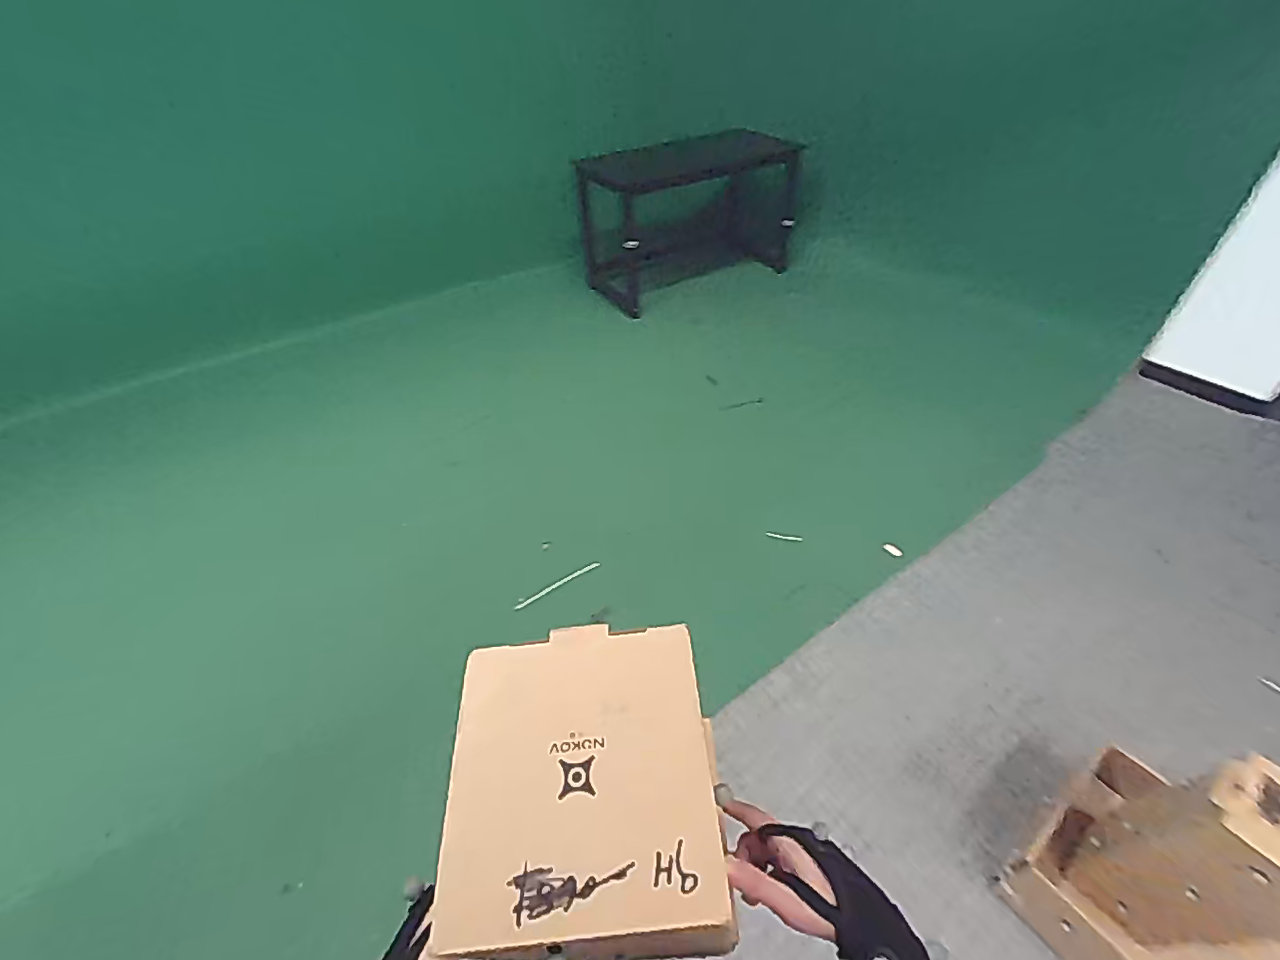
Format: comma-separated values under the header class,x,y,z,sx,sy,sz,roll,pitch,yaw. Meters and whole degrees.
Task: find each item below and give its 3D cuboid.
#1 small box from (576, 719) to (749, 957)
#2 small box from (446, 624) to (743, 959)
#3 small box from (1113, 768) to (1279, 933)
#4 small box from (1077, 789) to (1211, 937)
class,x,y,z,sx,sy,sz,roll,pitch,yaw
small box,0.003,0.348,0.523,0.179,0.176,0.168,-7,46,3
small box,-0.022,0.234,0.407,0.168,0.176,0.179,-8,46,2
small box,1.025,0.676,0.983,0.168,0.176,0.179,-33,51,-23
small box,1.045,0.784,1.103,0.179,0.176,0.168,-33,52,-25
